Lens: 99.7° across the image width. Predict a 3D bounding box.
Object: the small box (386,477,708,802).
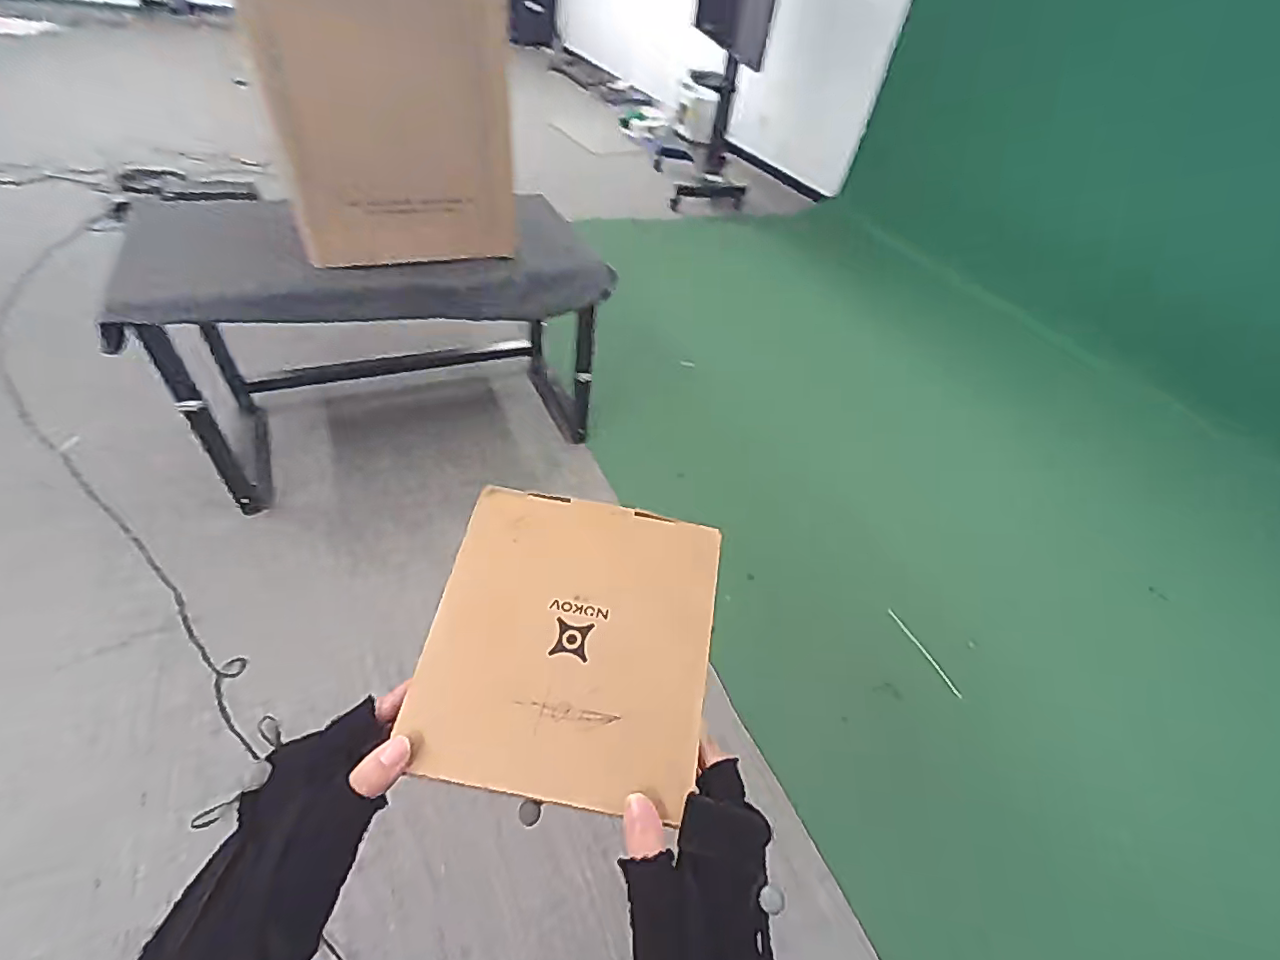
[{"bbox_3d":[-0.052,0.124,0.400,0.168,0.176,0.179,9,60,1],"label":"small box"}]
